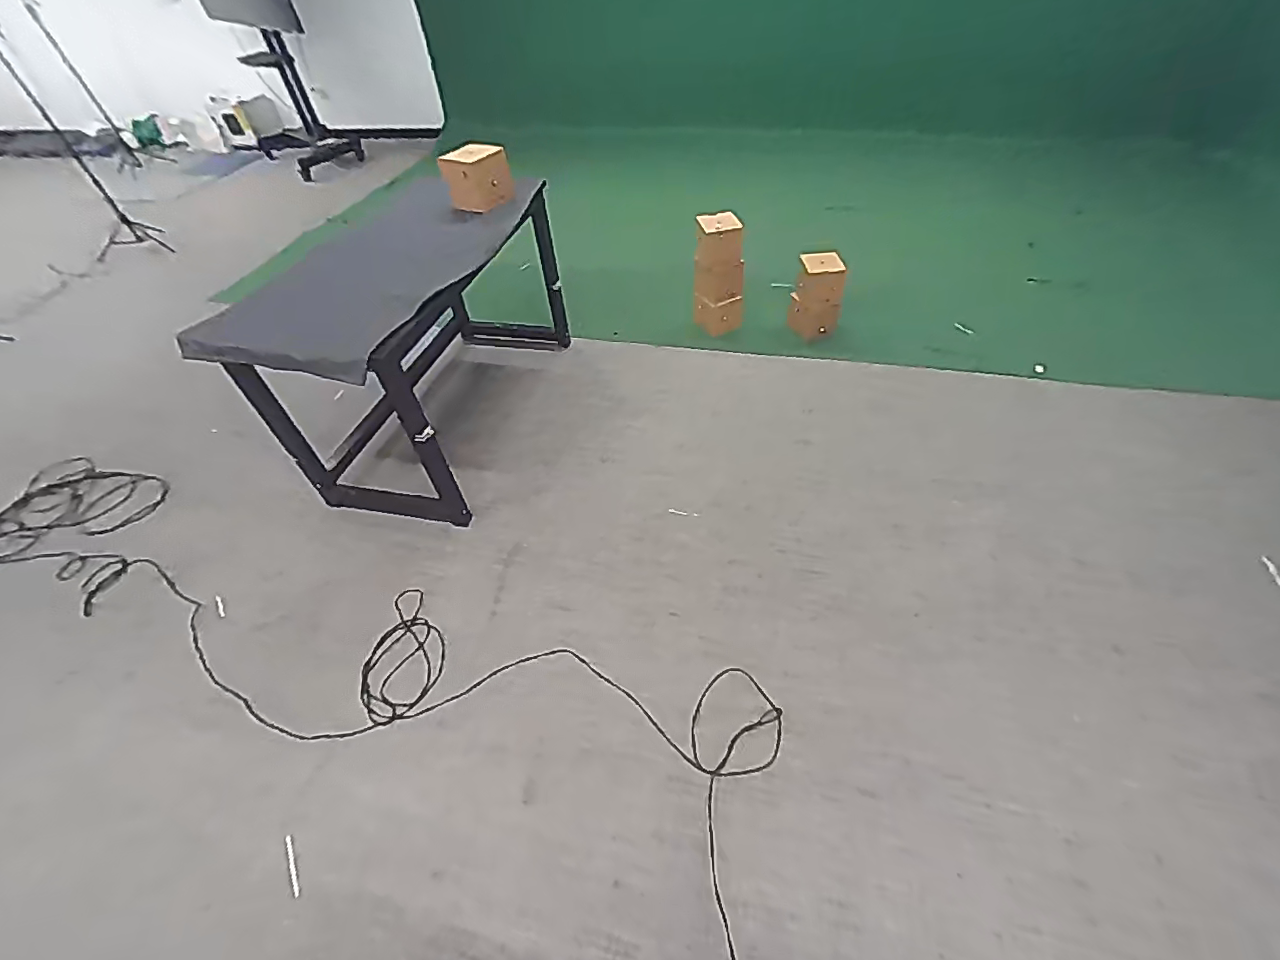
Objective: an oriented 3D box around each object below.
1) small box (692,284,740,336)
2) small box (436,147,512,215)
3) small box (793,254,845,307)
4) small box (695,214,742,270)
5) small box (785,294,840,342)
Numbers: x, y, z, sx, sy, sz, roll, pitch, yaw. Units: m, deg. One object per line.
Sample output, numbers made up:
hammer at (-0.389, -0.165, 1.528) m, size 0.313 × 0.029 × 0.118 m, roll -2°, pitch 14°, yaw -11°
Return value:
small box at (0.369, -0.819, 2.630) m, size 0.168 × 0.176 × 0.179 m, roll -26°, pitch 50°, yaw -17°
small box at (-0.592, -1.079, 1.957) m, size 0.179 × 0.176 × 0.168 m, roll 23°, pitch 53°, yaw 27°
small box at (0.801, -0.895, 2.435) m, size 0.168 × 0.176 × 0.179 m, roll -5°, pitch 46°, yaw 0°
small box at (0.342, -1.056, 2.402) m, size 0.168 × 0.176 × 0.179 m, roll -11°, pitch 47°, yaw -4°
small box at (0.806, -0.779, 2.549) m, size 0.168 × 0.176 × 0.179 m, roll -20°, pitch 50°, yaw -13°
